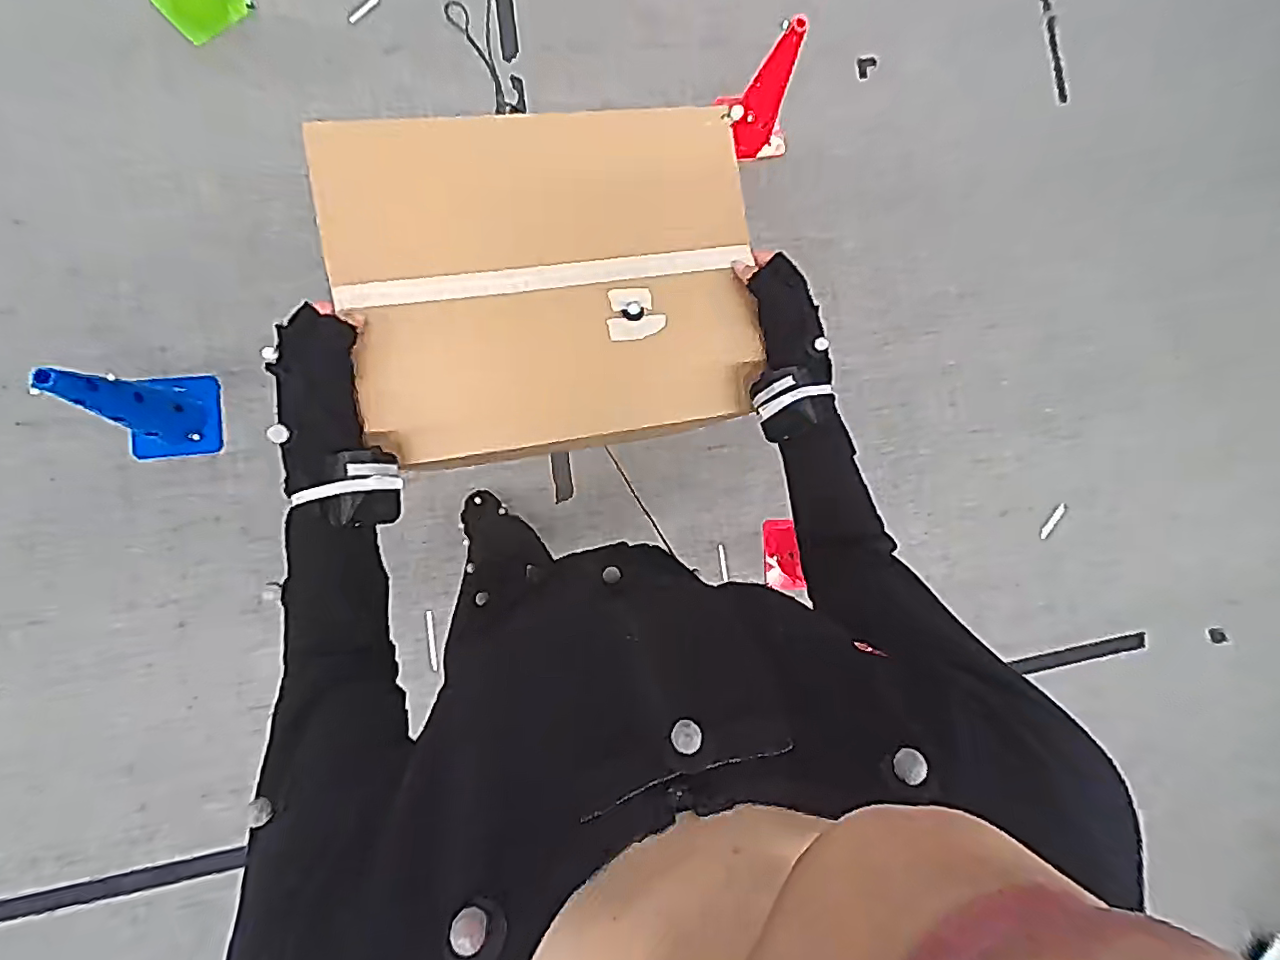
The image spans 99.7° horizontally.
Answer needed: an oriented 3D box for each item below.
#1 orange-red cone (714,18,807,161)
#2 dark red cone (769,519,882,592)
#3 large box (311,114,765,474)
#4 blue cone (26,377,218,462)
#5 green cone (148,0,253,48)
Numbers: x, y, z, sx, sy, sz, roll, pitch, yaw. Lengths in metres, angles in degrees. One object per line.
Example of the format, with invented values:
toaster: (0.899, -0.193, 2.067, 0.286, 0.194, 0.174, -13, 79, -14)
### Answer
orange-red cone: (0.360, -1.093, 1.488, 0.198, 0.360, 0.199, -10, 85, -10)
dark red cone: (0.485, 0.196, 1.366, 0.201, 0.394, 0.202, -2, 85, -8)
large box: (-0.114, -0.196, 0.678, 0.408, 0.320, 0.320, -10, 92, -12)
blue cone: (-1.138, -0.160, 1.190, 0.192, 0.380, 0.193, -5, 85, -8)
green cone: (-1.149, -1.289, 1.272, 0.200, 0.368, 0.202, 44, 82, -2)
